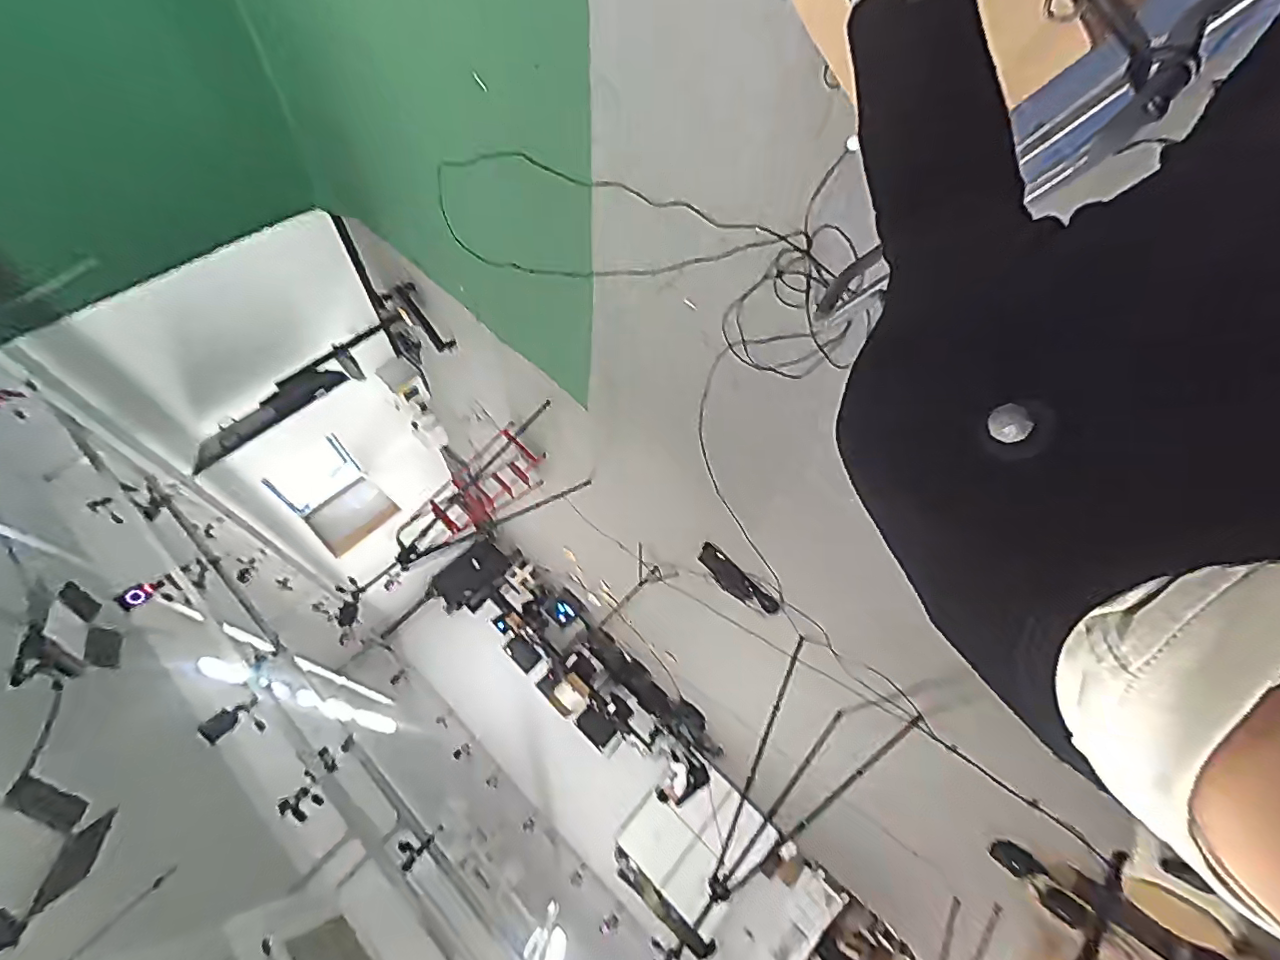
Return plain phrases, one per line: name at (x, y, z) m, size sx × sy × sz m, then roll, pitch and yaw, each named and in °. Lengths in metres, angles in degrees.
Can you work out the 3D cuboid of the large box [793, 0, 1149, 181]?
large box at (0.551, -0.820, 0.907) m, size 0.408 × 0.320 × 0.320 m, roll 52°, pitch 155°, yaw -8°
